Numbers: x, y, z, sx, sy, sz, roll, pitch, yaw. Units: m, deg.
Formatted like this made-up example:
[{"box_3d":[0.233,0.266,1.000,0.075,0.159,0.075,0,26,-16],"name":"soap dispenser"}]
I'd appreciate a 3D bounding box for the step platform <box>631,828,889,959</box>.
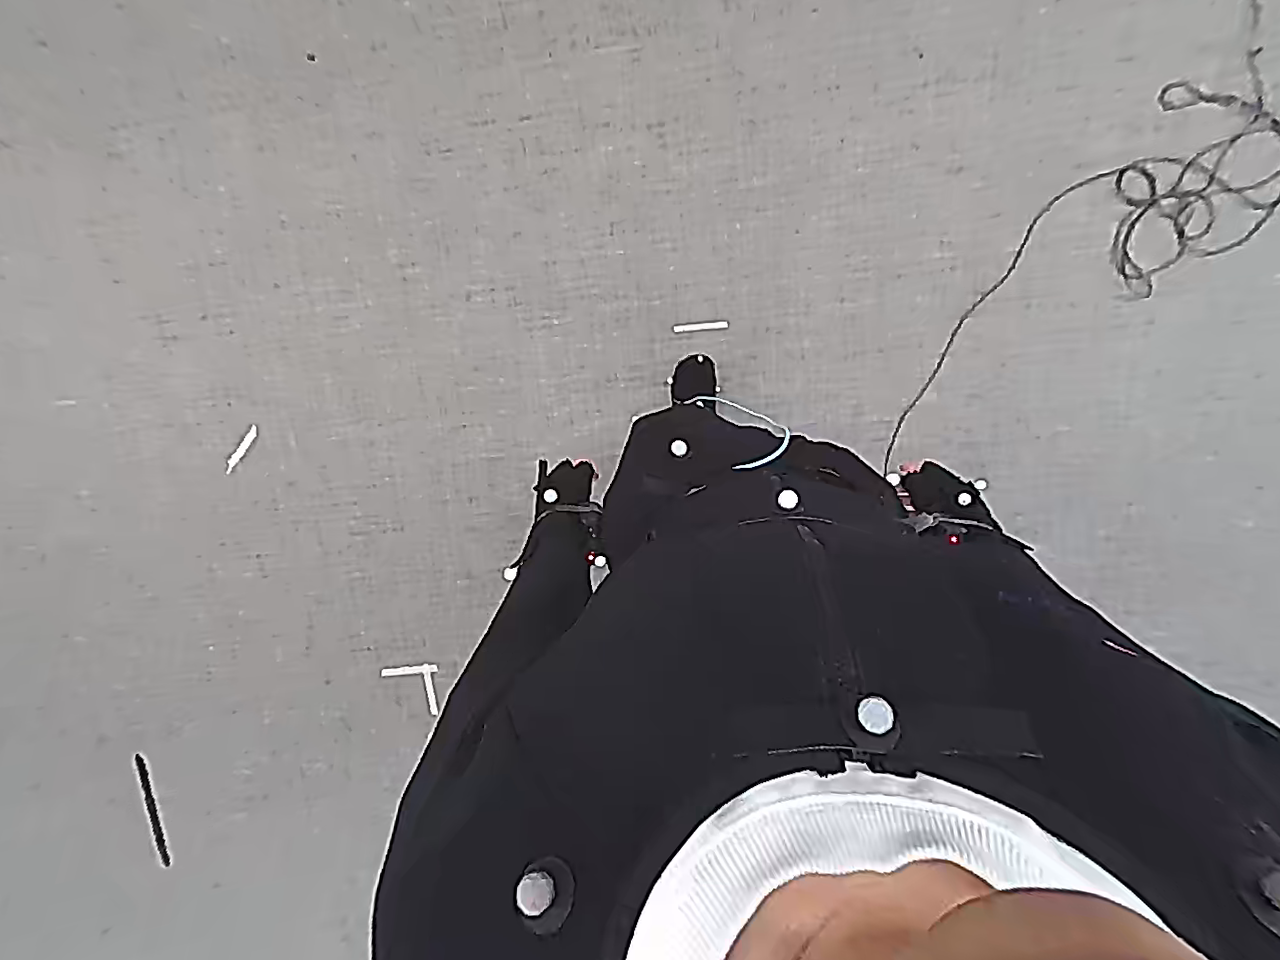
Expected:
[{"box_3d":[0.318,1.175,1.499,0.684,0.204,0.286,-6,97,7],"name":"step platform"}]
